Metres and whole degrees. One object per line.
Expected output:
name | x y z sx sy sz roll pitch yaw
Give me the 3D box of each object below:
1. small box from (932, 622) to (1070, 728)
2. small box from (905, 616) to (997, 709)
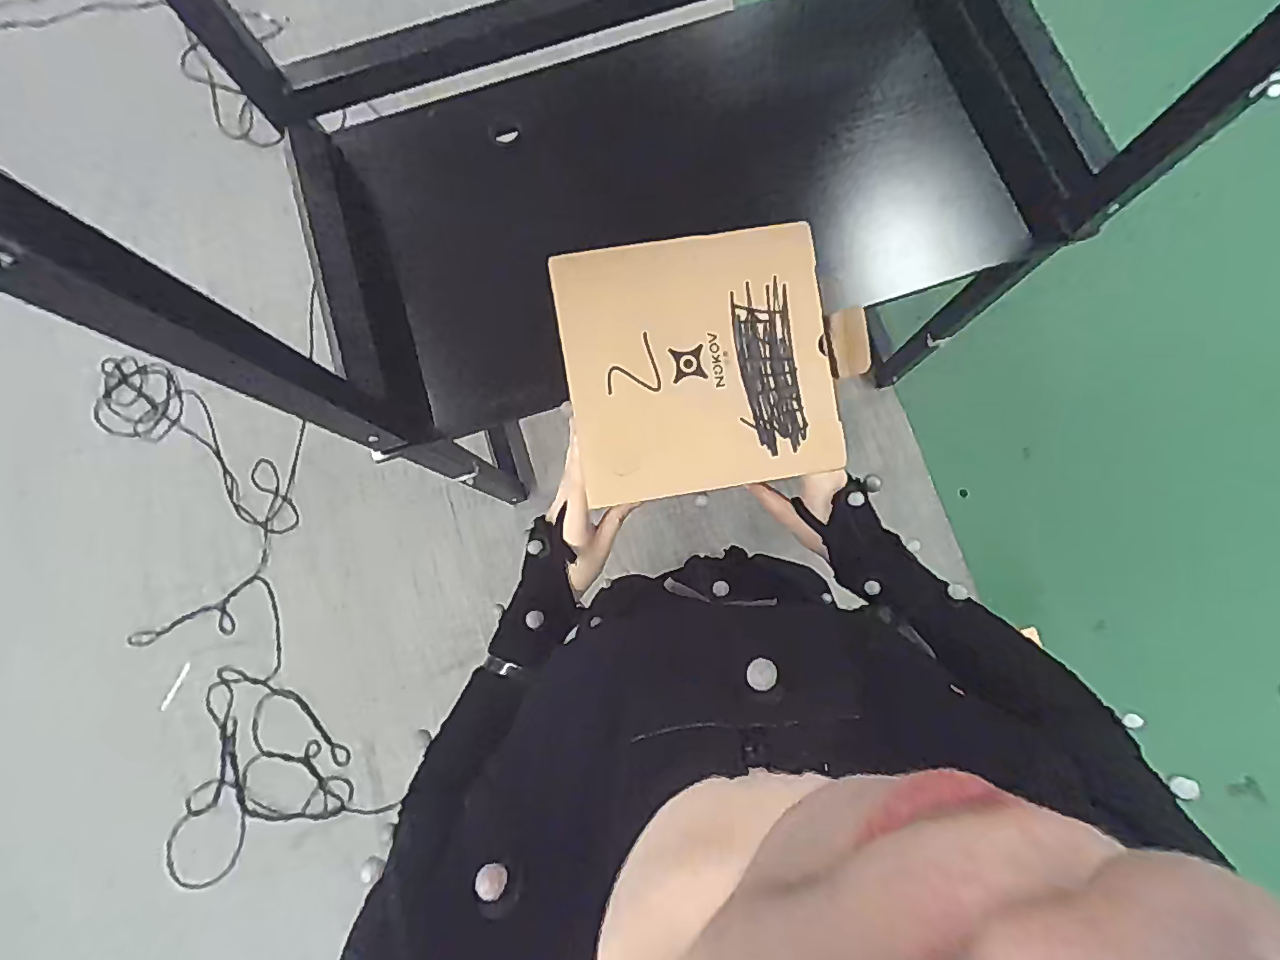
small box | 0.780 0.421 1.194 0.179 0.176 0.168 -16 81 0
small box | 0.795 0.446 1.353 0.168 0.176 0.179 -14 82 1
